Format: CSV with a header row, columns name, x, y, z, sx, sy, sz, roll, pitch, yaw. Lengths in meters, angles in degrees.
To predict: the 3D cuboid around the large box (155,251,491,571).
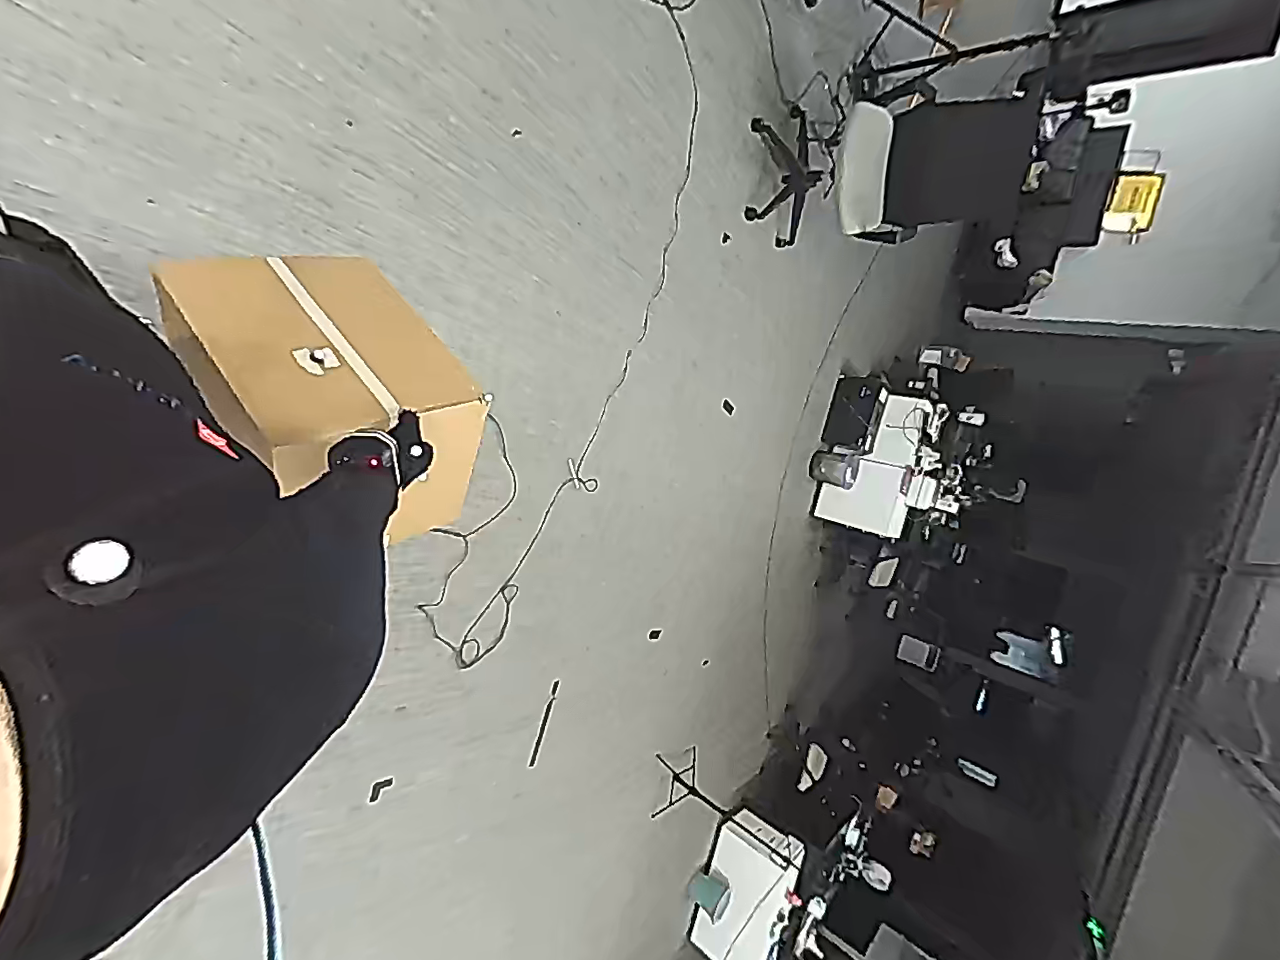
name,x,y,z,sx,sy,sz,roll,pitch,yaw
large box,-0.525,-0.131,0.911,0.320,0.408,0.320,-25,156,-44
